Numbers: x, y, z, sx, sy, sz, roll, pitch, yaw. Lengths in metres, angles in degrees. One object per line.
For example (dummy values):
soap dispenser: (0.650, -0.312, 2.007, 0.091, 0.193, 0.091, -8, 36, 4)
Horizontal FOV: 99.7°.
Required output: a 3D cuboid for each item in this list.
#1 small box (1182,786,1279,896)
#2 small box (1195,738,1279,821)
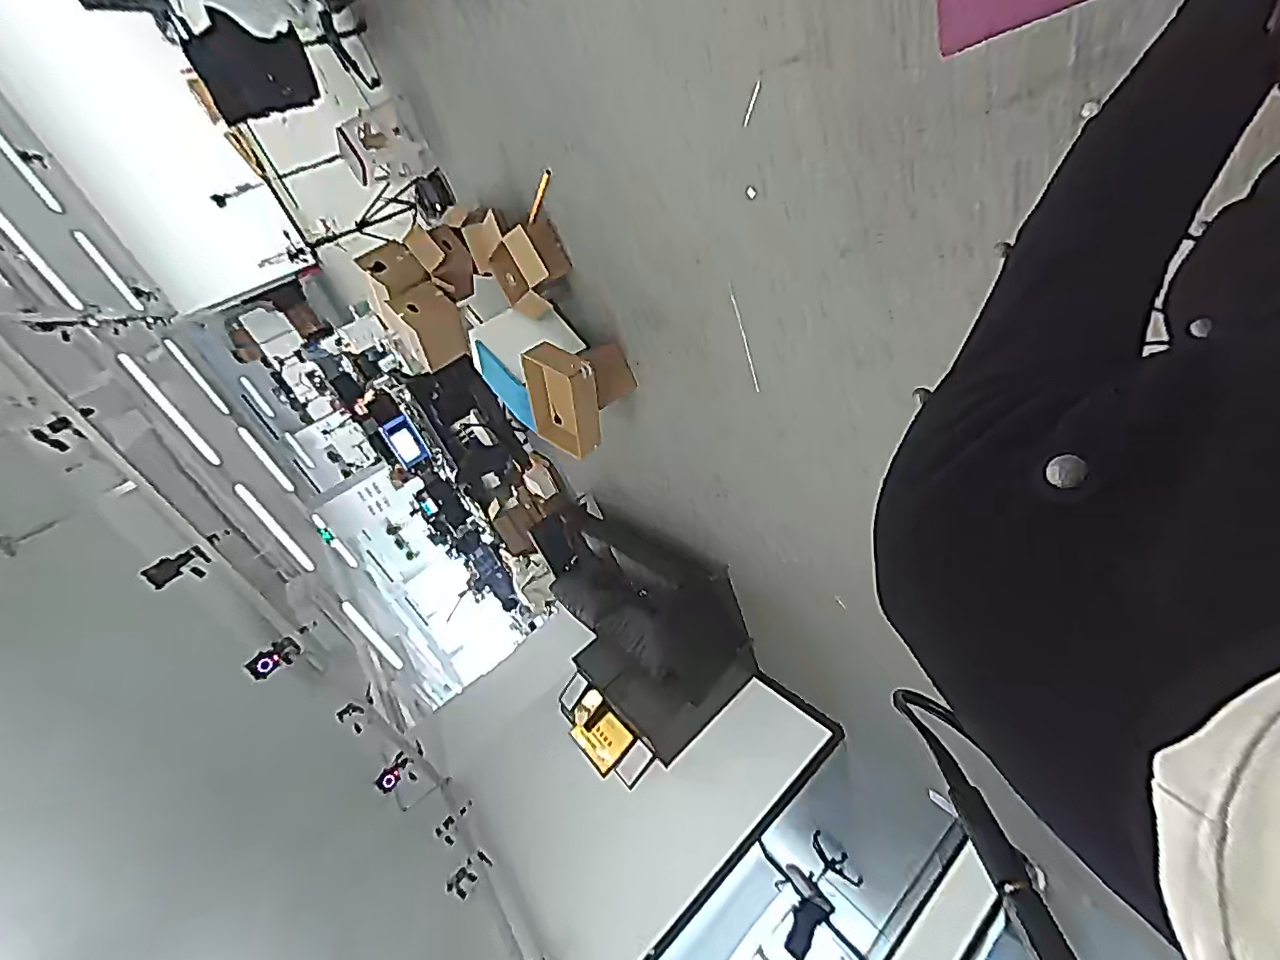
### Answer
small box: (1.736, 1.047, 1.583, 0.168, 0.176, 0.179, 20, 141, 56)
small box: (1.844, 0.940, 1.652, 0.168, 0.176, 0.179, 18, 139, 56)
